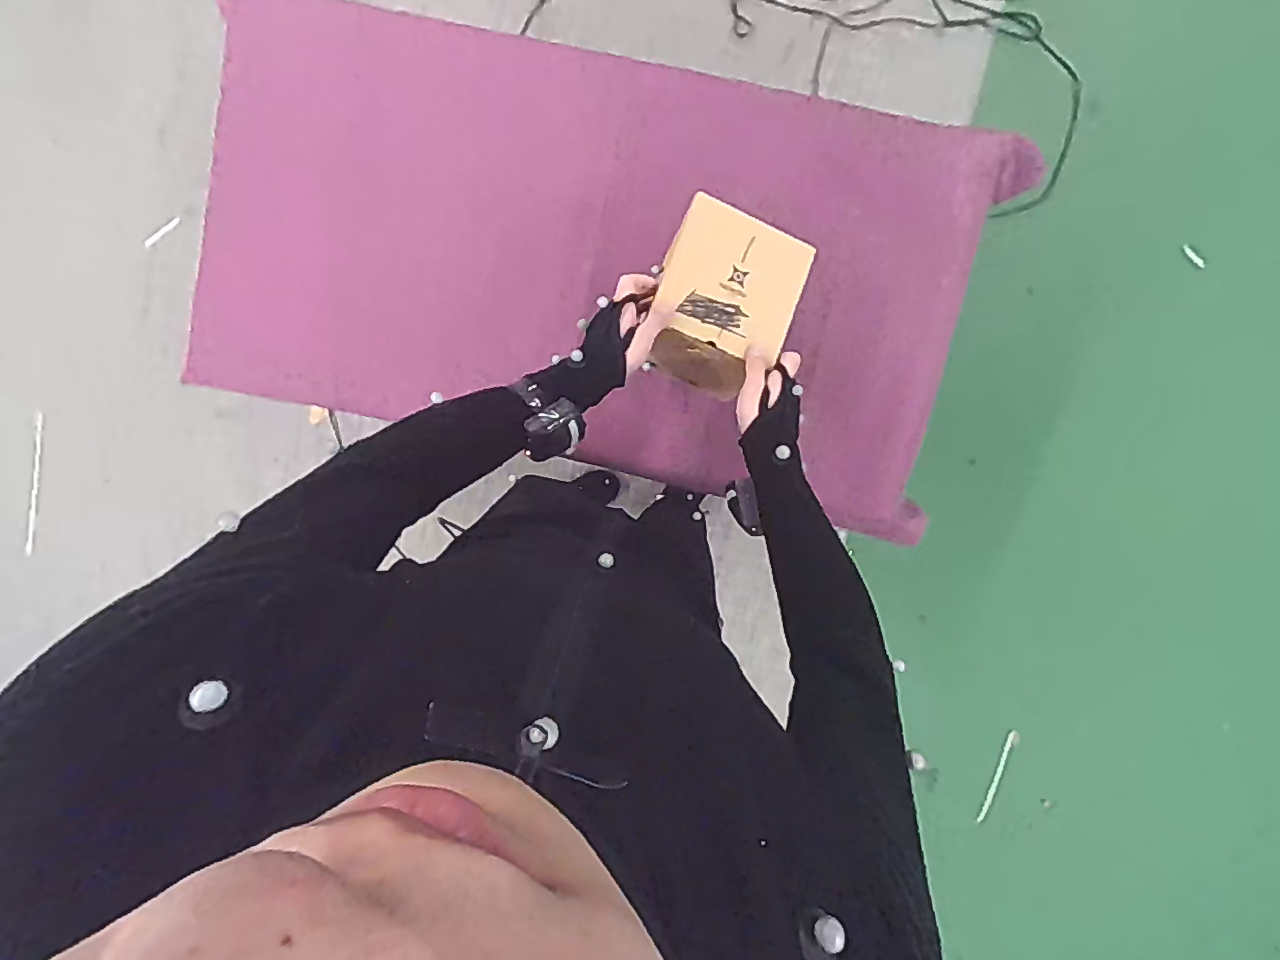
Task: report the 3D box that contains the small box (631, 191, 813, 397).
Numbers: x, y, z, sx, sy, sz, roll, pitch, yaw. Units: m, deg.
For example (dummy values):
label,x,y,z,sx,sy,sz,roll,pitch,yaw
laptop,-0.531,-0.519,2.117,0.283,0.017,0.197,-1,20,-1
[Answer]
label,x,y,z,sx,sy,sz,roll,pitch,yaw
small box,0.095,-0.230,0.719,0.168,0.176,0.179,22,83,-8
